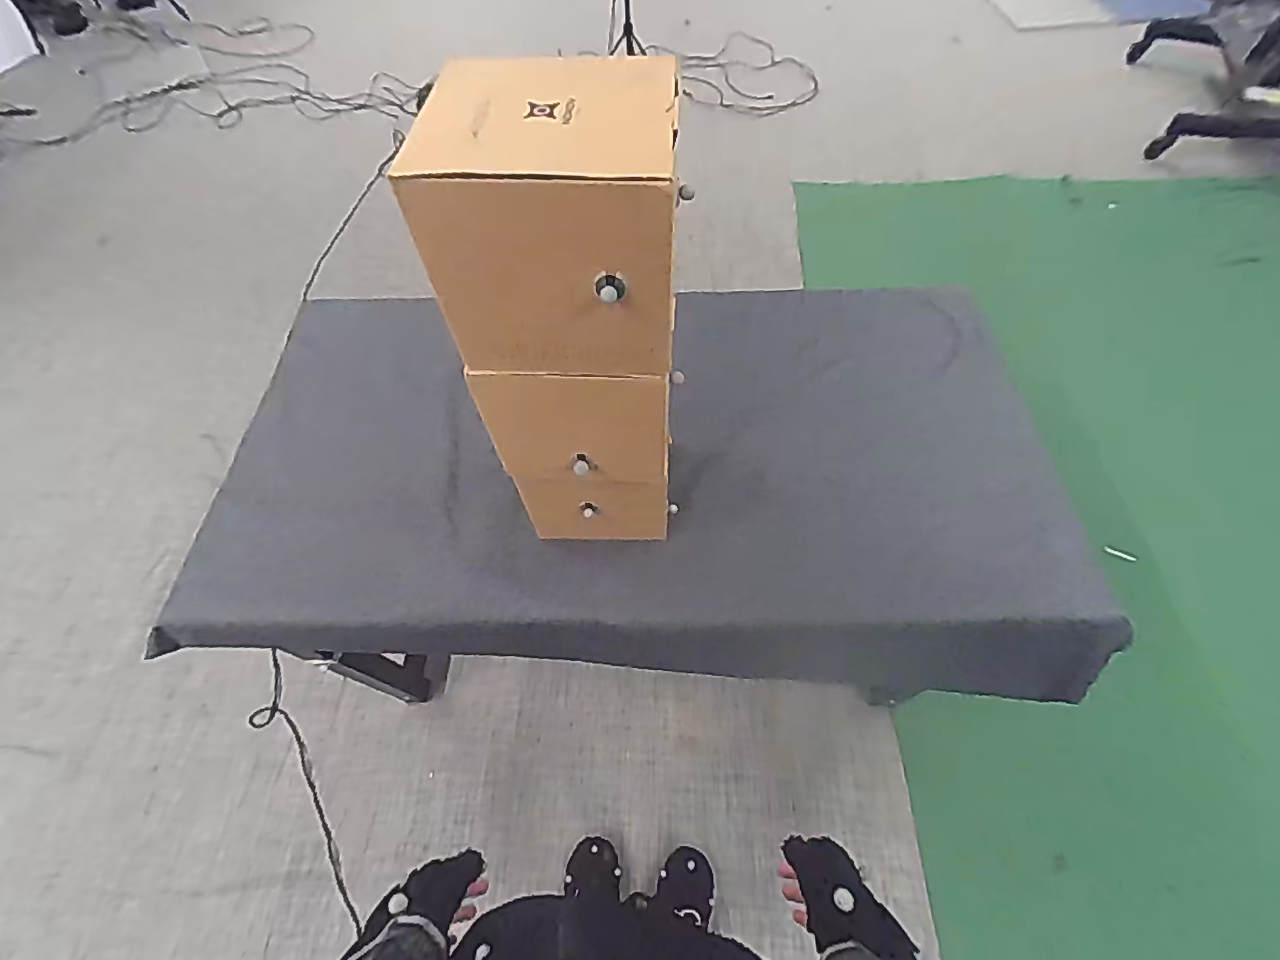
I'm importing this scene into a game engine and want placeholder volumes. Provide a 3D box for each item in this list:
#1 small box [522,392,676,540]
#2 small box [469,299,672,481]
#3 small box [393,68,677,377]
[{"bbox_3d":[-0.049,-0.029,0.716,0.179,0.176,0.168,-2,59,0],"label":"small box"},{"bbox_3d":[-0.058,-0.110,0.575,0.179,0.176,0.168,1,58,2],"label":"small box"},{"bbox_3d":[-0.060,-0.198,0.438,0.179,0.176,0.168,0,57,3],"label":"small box"}]
